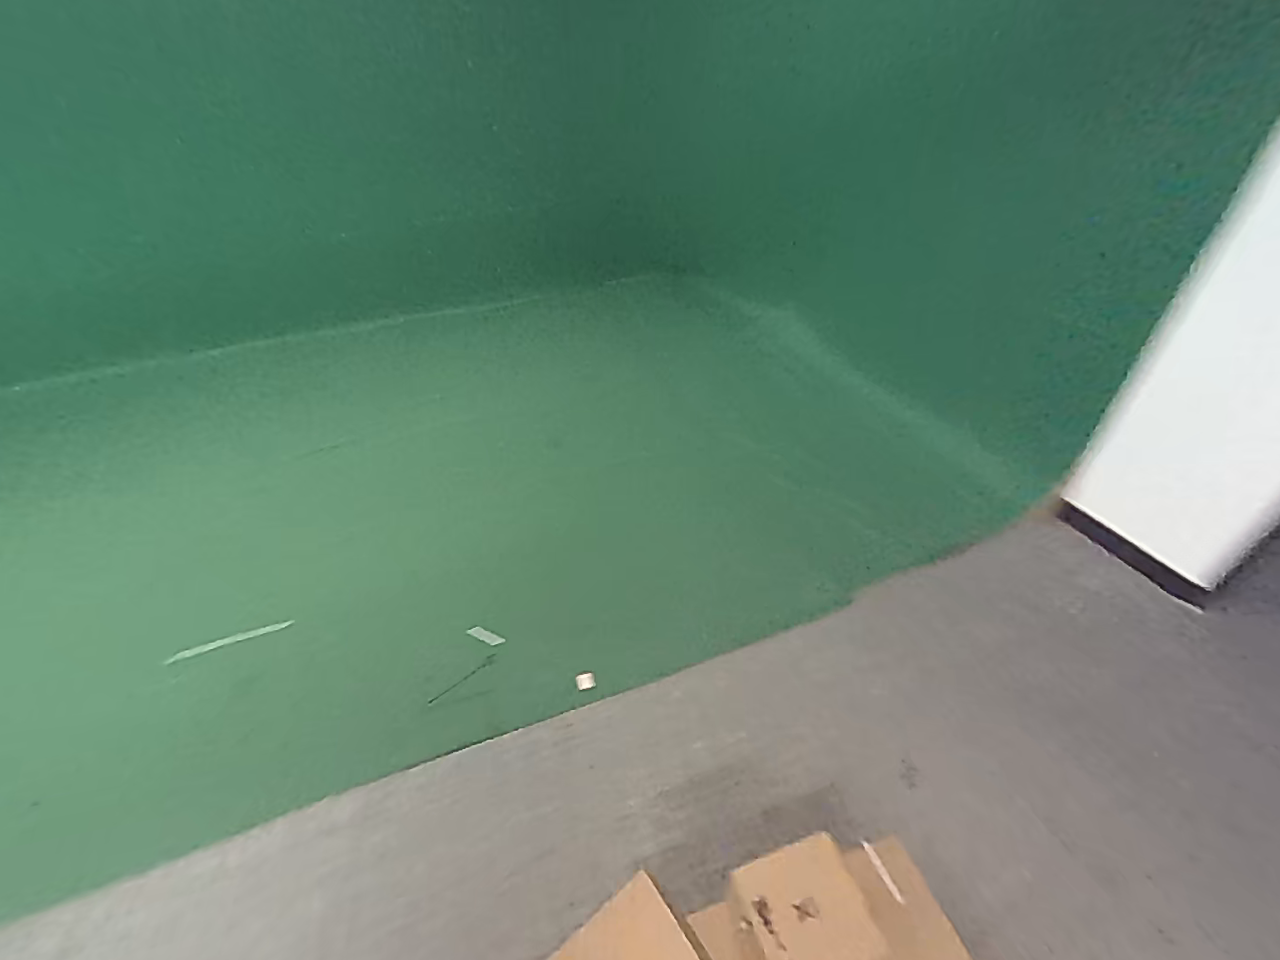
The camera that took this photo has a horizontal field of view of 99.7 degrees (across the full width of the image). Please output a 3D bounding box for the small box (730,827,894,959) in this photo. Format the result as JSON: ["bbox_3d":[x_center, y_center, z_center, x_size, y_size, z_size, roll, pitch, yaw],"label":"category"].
[{"bbox_3d":[0.258,0.694,0.858,0.179,0.176,0.168,-12,40,-13],"label":"small box"}]
